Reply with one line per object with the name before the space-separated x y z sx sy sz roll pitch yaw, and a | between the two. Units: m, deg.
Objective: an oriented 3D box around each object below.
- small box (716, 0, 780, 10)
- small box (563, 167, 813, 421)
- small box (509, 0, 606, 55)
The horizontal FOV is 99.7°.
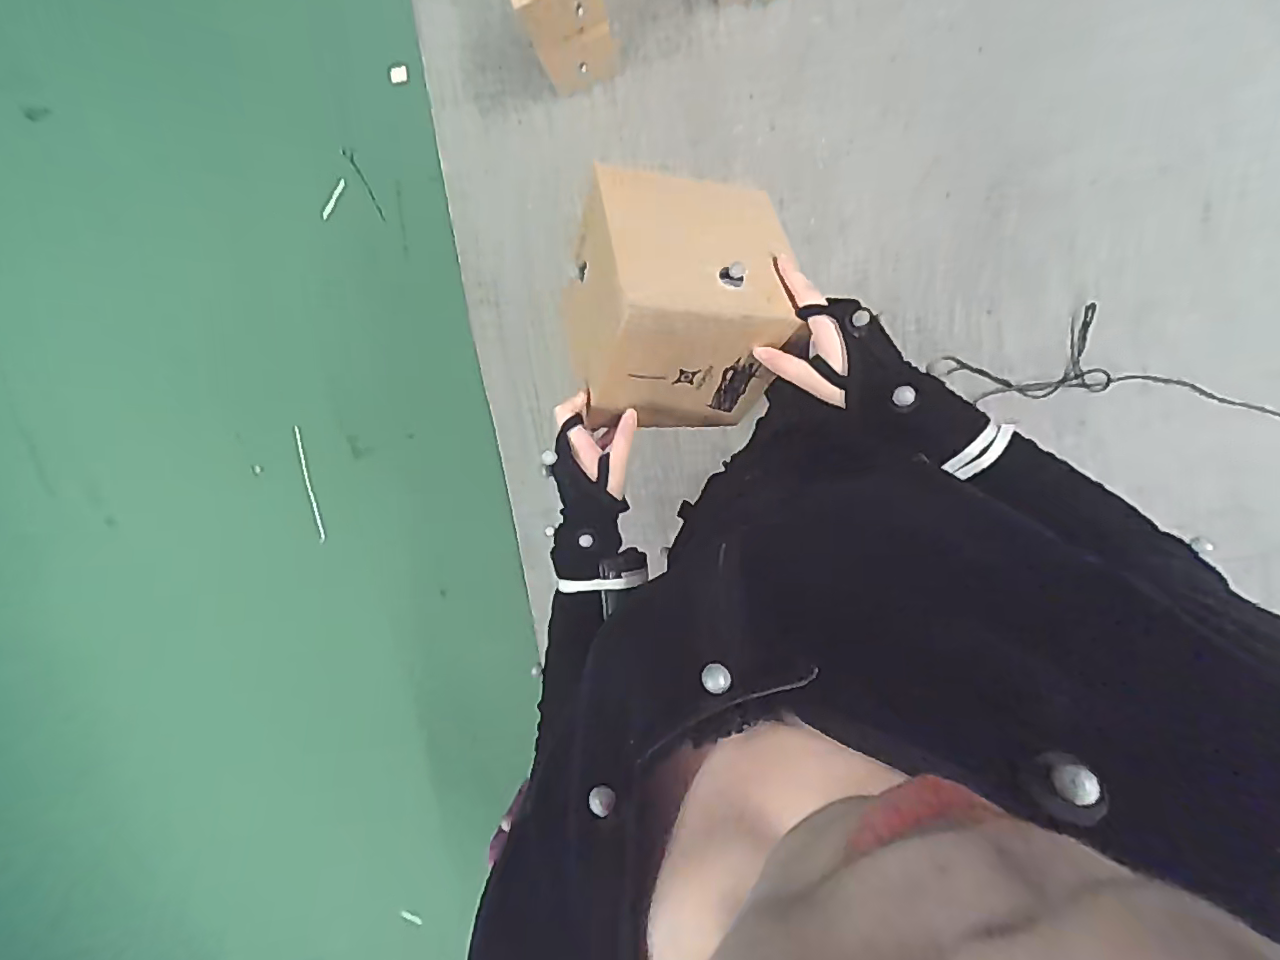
small box | 0.254 -1.190 1.190 0.179 0.176 0.168 0 98 10
small box | 0.031 -0.173 0.531 0.179 0.168 0.176 -1 63 -19
small box | -0.186 -1.038 1.126 0.168 0.176 0.179 -18 95 12
